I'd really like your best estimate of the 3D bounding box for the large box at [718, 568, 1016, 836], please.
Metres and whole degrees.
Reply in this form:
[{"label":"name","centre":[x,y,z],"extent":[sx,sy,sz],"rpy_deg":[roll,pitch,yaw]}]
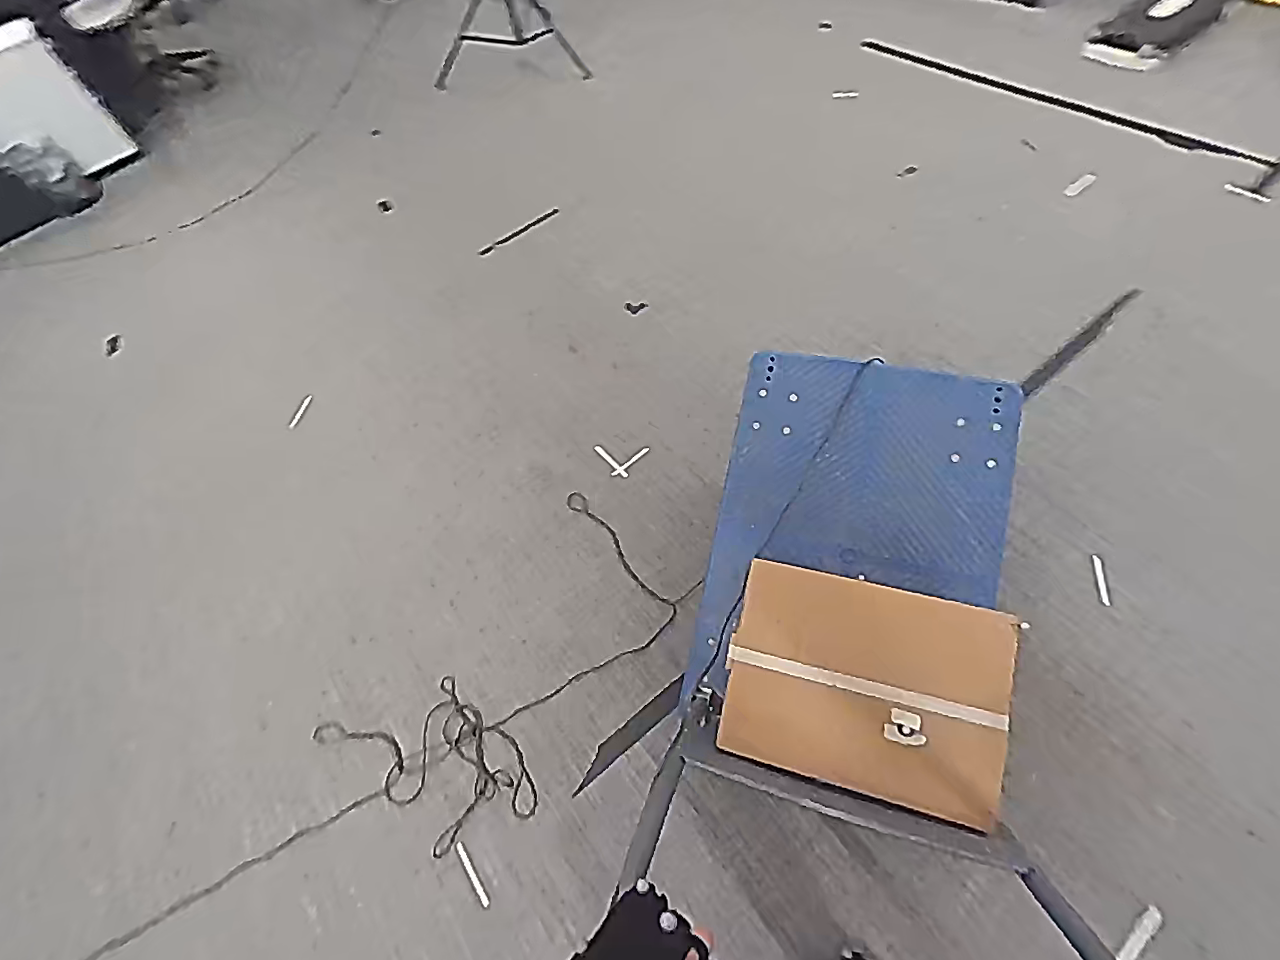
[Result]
[{"label":"large box","centre":[0.372,0.354,0.978],"extent":[0.408,0.320,0.320],"rpy_deg":[11,83,14]}]
